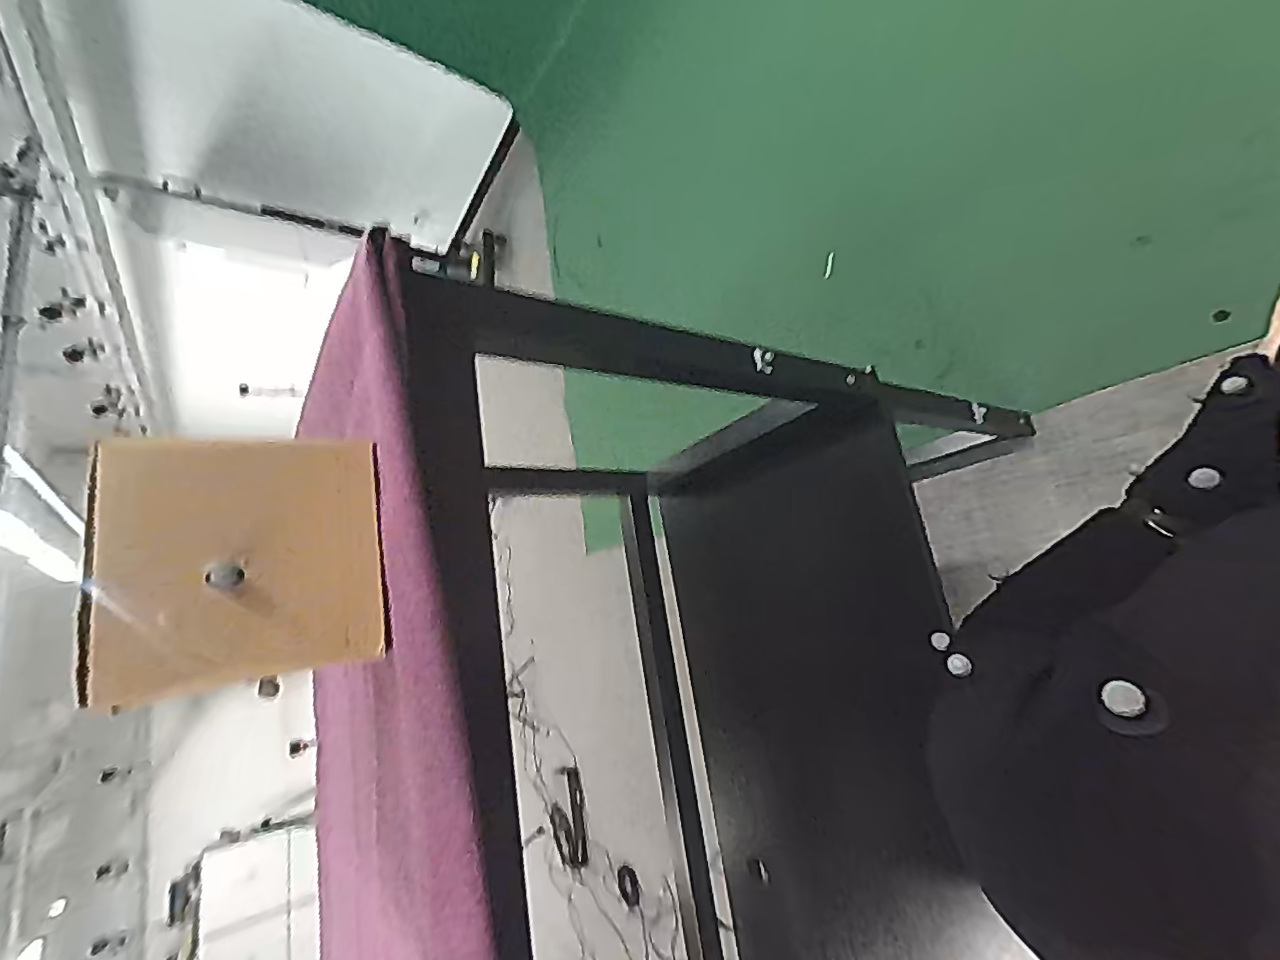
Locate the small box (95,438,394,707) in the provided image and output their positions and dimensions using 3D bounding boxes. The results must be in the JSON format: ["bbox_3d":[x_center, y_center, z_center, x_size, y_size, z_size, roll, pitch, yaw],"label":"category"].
[{"bbox_3d":[-0.310,0.070,0.447,0.168,0.176,0.179,-27,70,52],"label":"small box"}]
